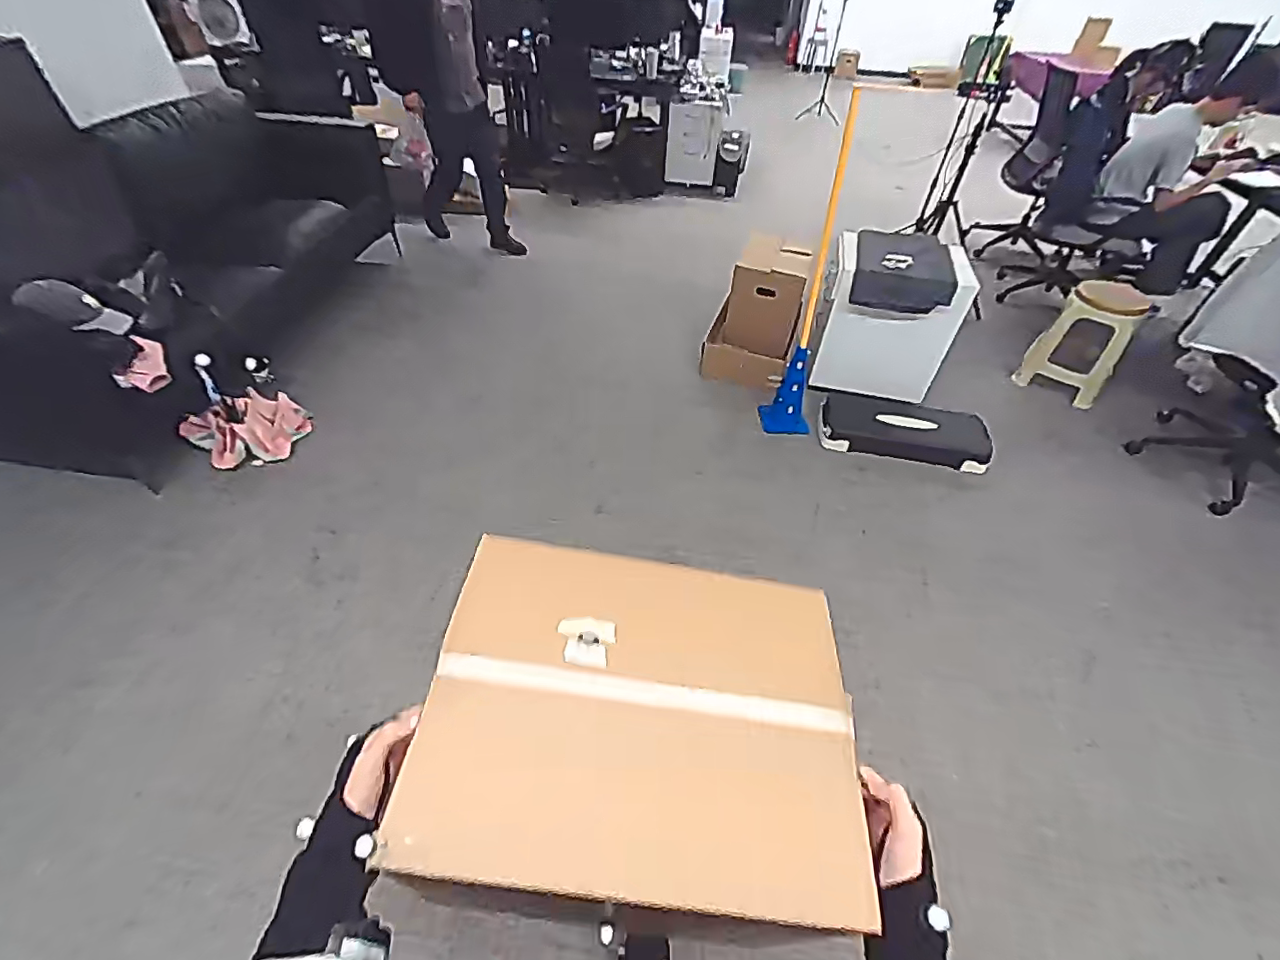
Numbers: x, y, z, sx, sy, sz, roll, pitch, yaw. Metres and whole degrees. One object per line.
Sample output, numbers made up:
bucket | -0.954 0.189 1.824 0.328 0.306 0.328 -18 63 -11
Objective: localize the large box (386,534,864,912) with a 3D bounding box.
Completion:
large box | -0.014 0.301 0.647 0.408 0.320 0.320 10 48 -3
